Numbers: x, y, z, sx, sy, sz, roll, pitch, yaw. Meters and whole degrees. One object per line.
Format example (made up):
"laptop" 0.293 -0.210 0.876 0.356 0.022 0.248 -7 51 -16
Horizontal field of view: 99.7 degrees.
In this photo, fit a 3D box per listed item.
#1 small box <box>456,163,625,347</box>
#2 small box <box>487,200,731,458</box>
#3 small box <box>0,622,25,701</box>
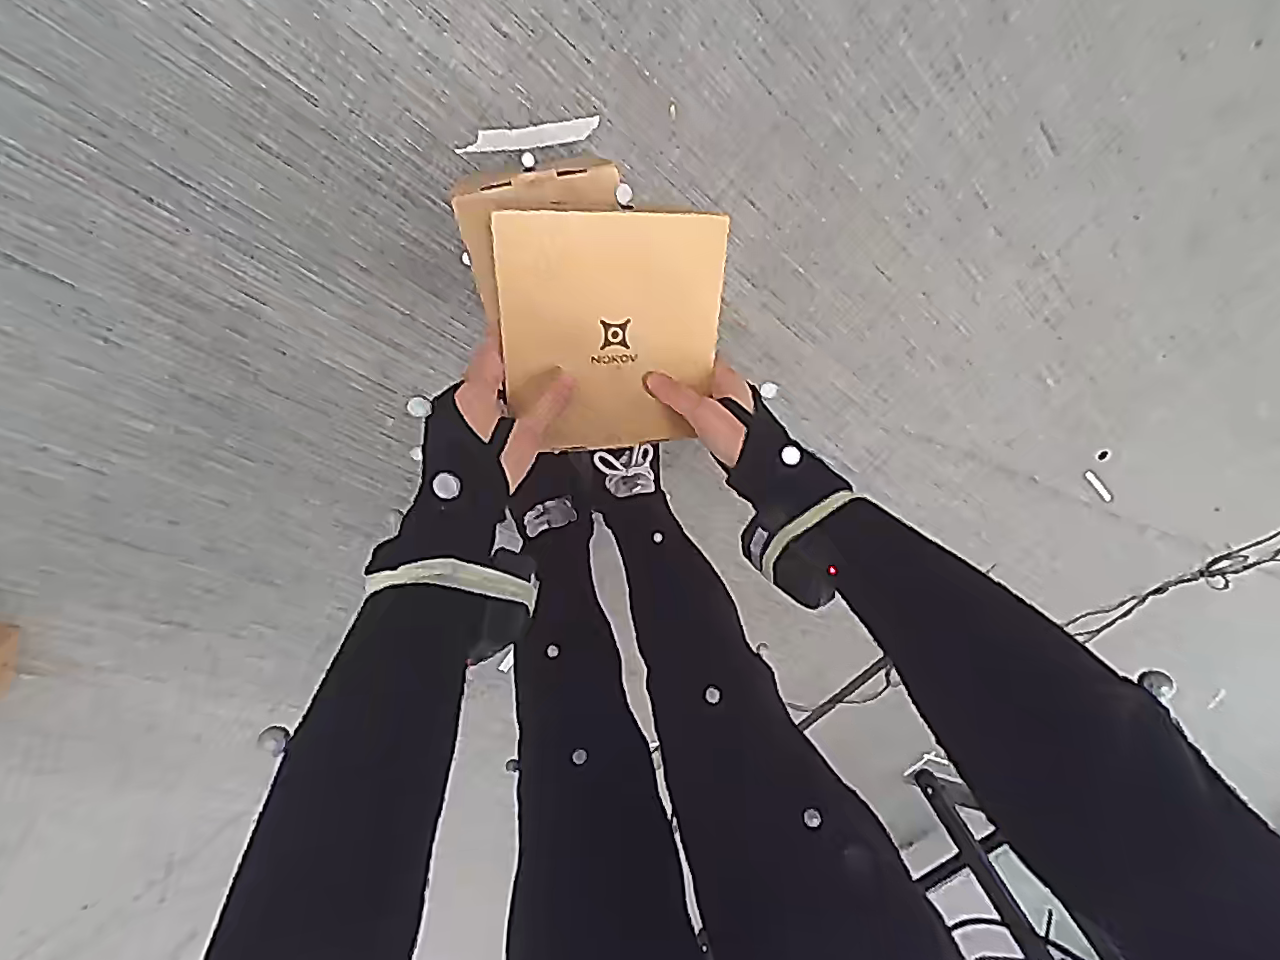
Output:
"small box" -0.105 -0.260 0.631 0.168 0.176 0.179 -14 125 -6
"small box" -0.038 -0.139 0.467 0.168 0.176 0.179 -6 122 -14
"small box" -1.047 0.296 0.766 0.179 0.176 0.168 25 113 -26
